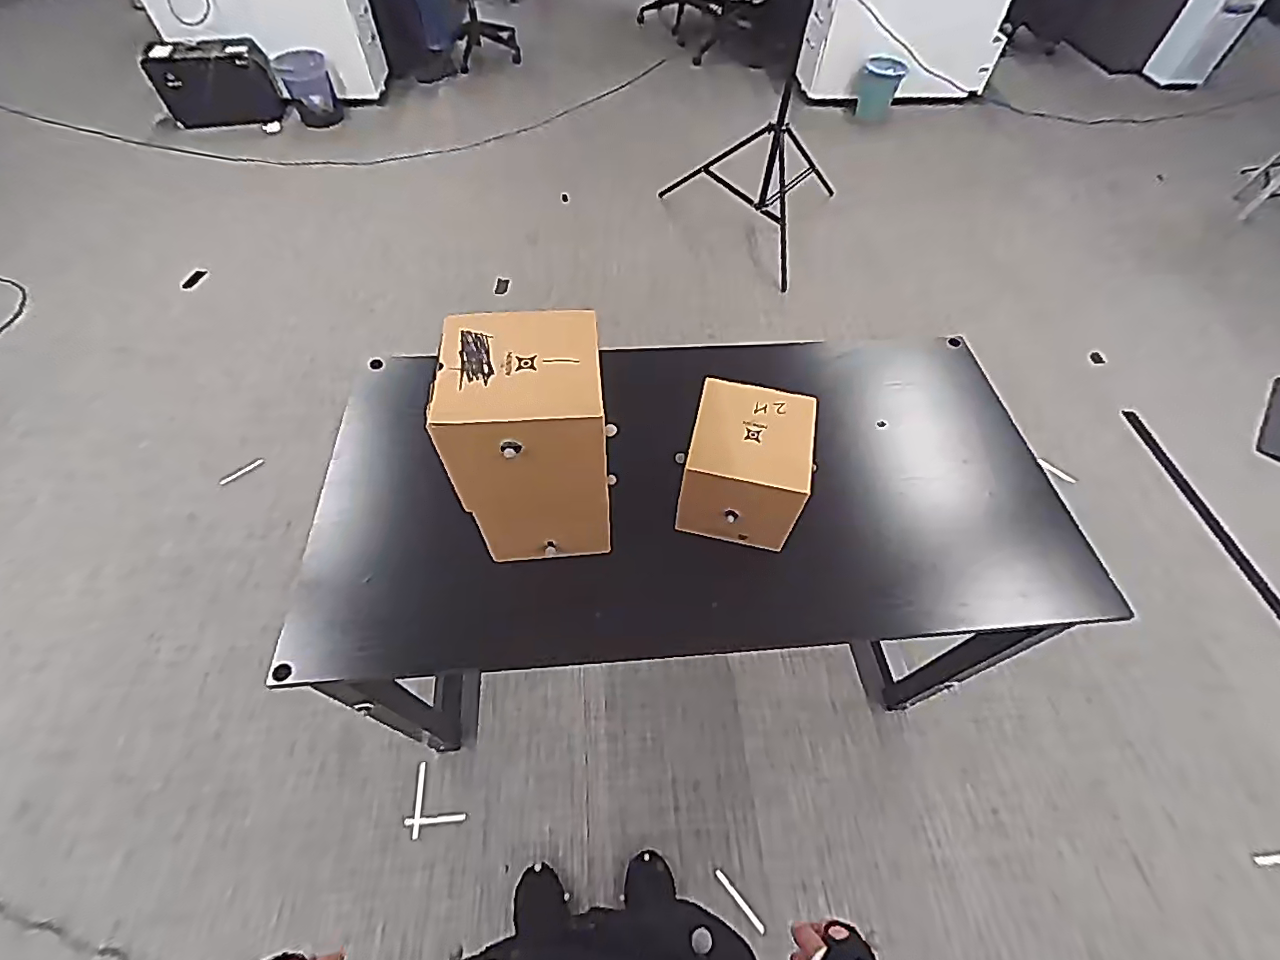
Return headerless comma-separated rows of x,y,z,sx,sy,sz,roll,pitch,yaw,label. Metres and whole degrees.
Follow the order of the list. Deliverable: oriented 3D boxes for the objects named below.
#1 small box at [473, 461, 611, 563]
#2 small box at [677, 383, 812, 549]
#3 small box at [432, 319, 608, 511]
-0.138,0.011,0.801,0.179,0.176,0.168,-4,56,-6,small box
0.154,-0.016,0.827,0.168,0.176,0.179,12,56,6,small box
-0.132,-0.073,0.657,0.179,0.176,0.168,-4,56,-5,small box
